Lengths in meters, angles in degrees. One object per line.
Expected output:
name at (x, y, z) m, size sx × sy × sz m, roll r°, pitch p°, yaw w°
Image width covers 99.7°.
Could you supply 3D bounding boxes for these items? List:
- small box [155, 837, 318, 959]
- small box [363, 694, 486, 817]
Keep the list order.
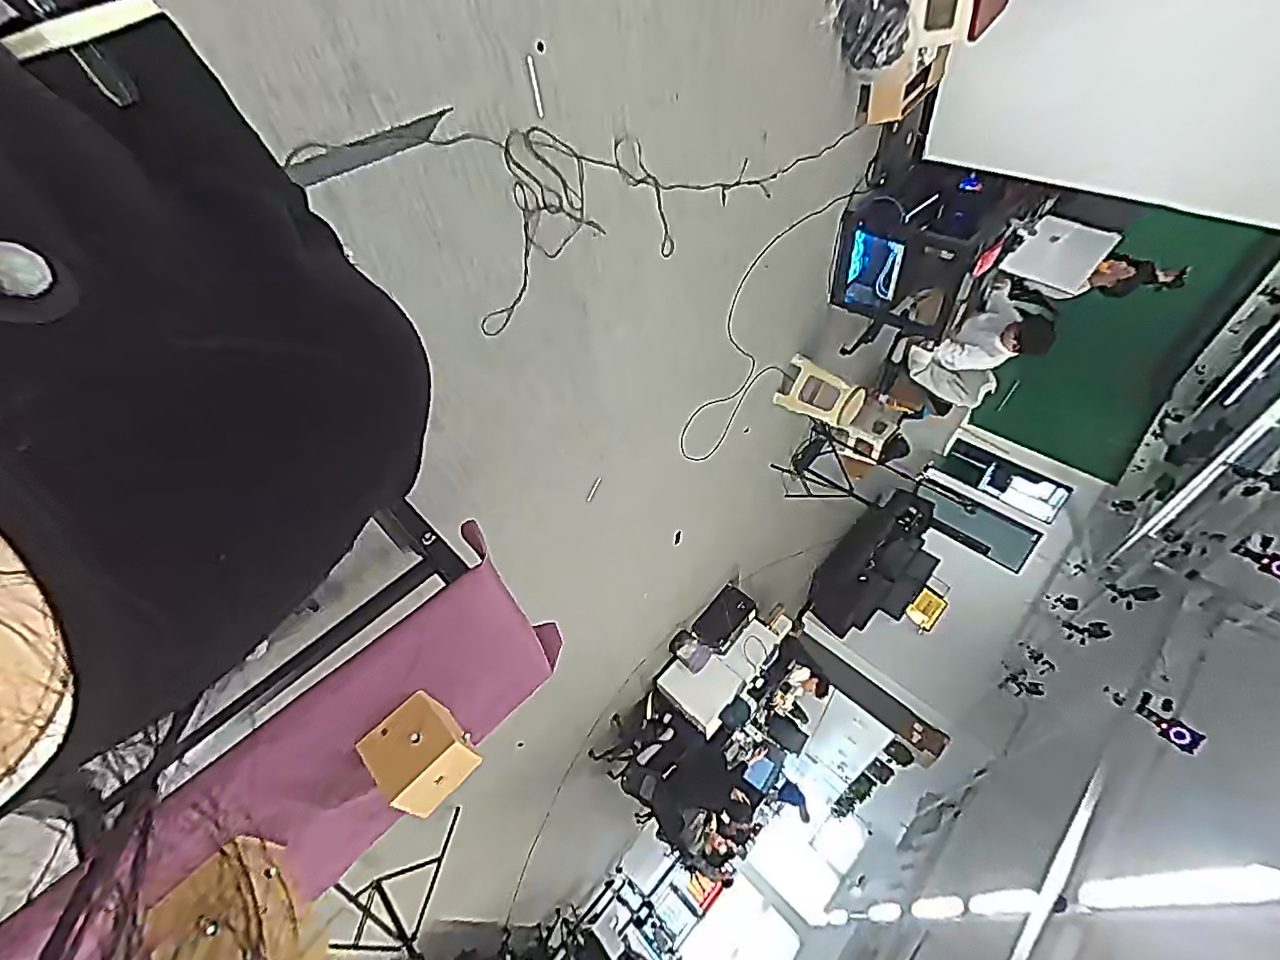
small box at (-0.774, 0.834, 1.040) m, size 0.179 × 0.176 × 0.168 m, roll -39°, pitch 144°, yaw -25°
small box at (-0.488, 0.618, 1.227) m, size 0.168 × 0.176 × 0.179 m, roll -41°, pitch 147°, yaw -23°
